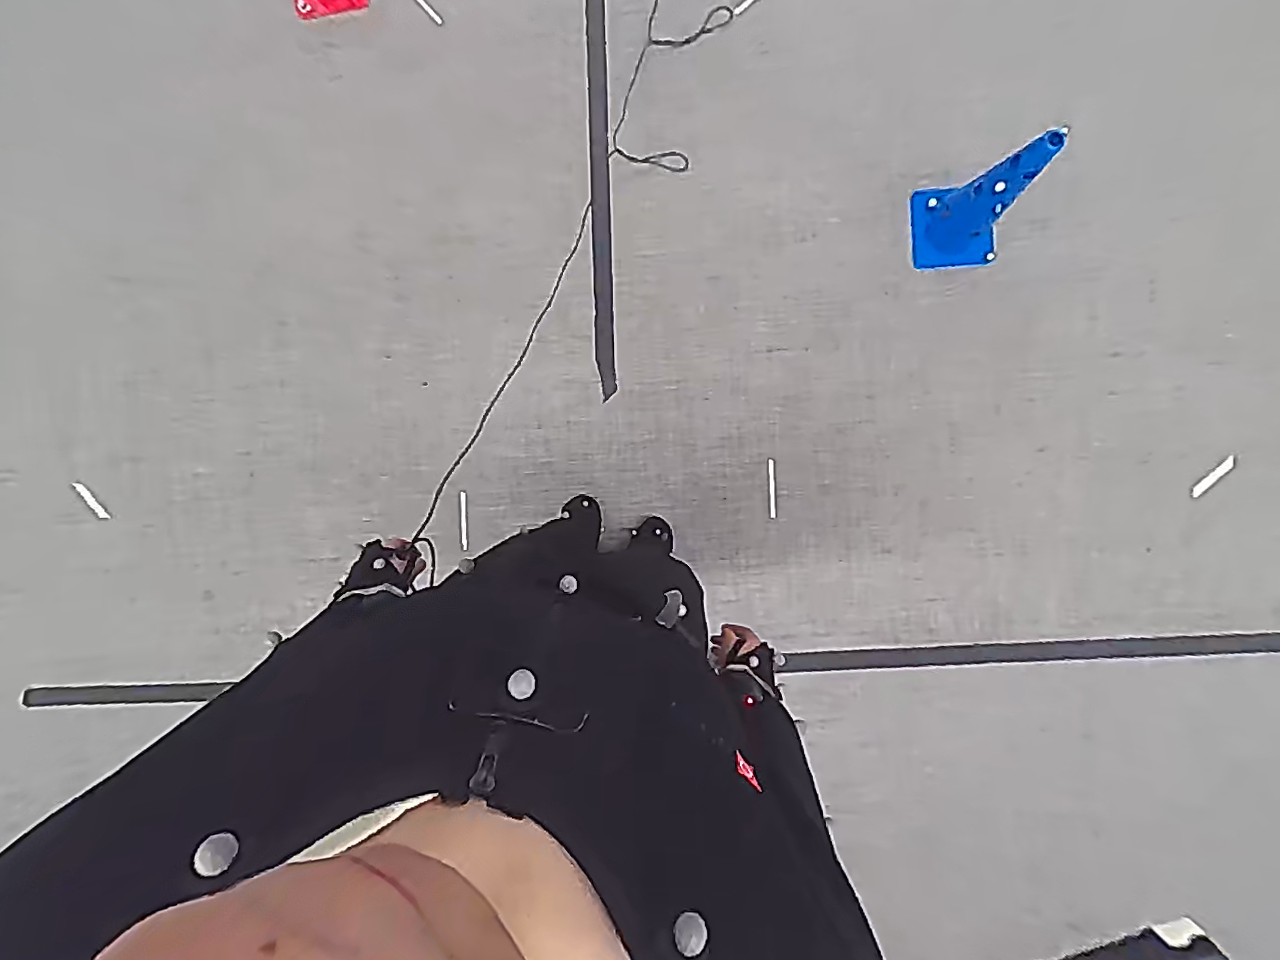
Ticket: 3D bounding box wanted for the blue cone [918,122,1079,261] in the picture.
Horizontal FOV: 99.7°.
[{"bbox_3d":[0.787,-0.643,1.183,0.192,0.380,0.193,-2,90,1],"label":"blue cone"}]
